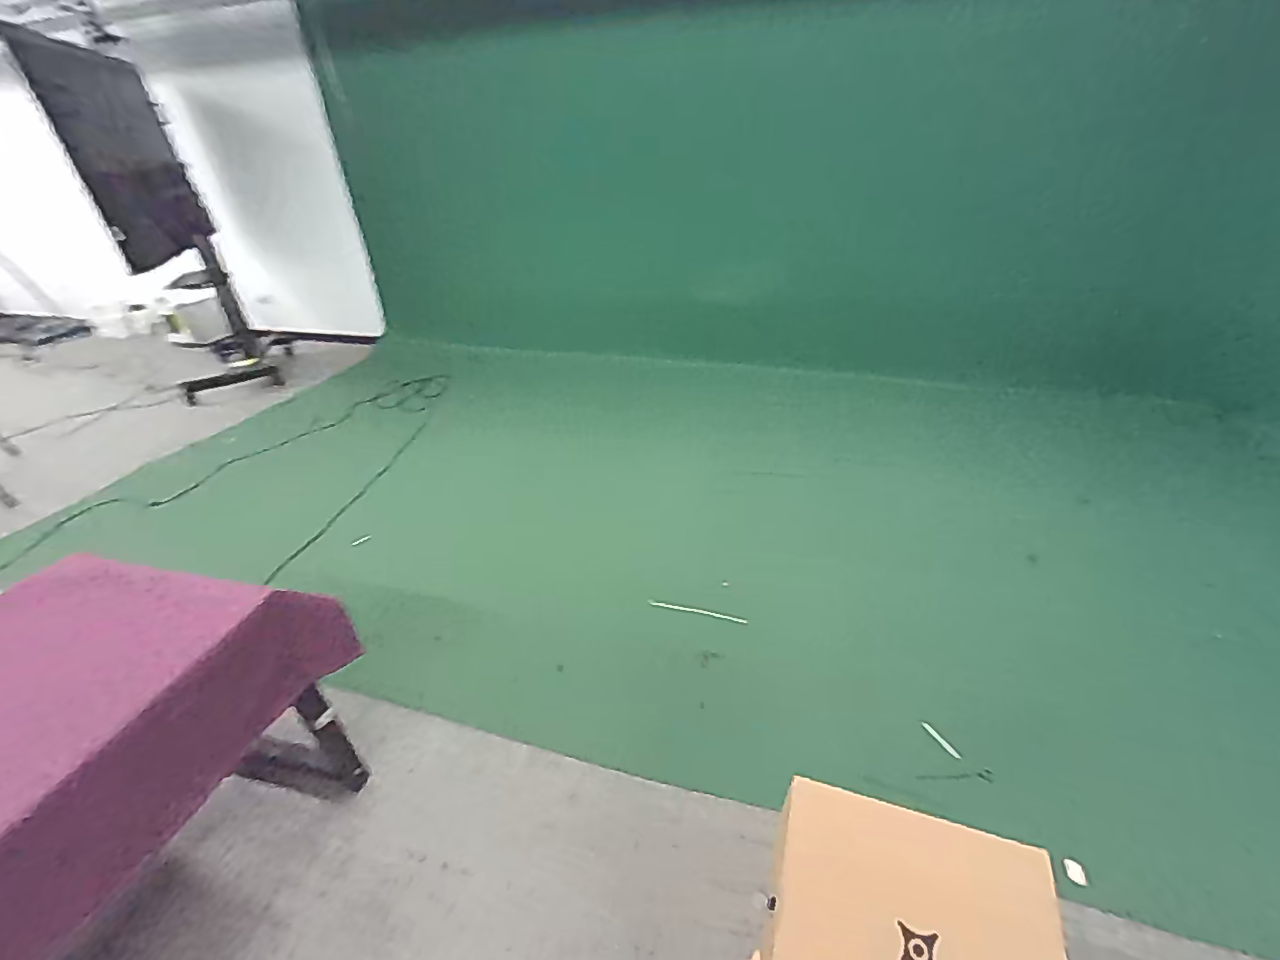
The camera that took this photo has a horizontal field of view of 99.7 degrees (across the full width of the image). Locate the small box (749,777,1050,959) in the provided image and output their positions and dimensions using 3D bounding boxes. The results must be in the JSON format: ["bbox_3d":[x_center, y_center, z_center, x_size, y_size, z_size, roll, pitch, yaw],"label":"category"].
[{"bbox_3d":[0.165,0.350,0.381,0.168,0.176,0.179,9,47,17],"label":"small box"}]
